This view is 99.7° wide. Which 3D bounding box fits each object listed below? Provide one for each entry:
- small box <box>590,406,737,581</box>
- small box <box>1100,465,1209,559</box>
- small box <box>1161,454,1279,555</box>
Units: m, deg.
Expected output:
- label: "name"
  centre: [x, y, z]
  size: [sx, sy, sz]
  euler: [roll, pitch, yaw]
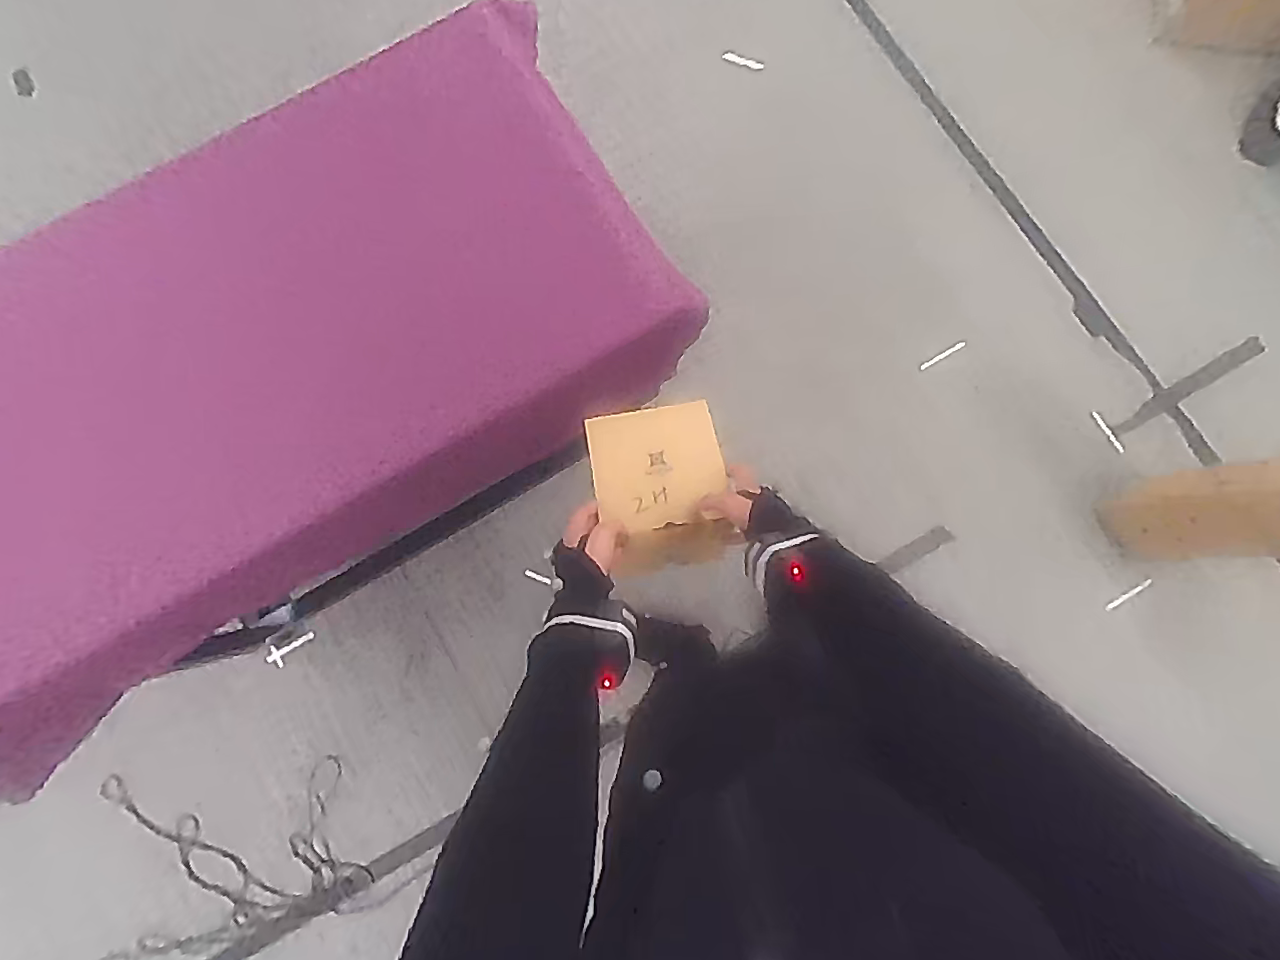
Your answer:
- label: "small box"
  centre: [0.027, 0.025, 0.753]
  size: [0.168, 0.176, 0.179]
  euler: [-10, 65, -1]
- label: "small box"
  centre: [1.349, 0.084, 1.376]
  size: [0.168, 0.176, 0.179]
  euler: [-33, 83, -3]
- label: "small box"
  centre: [1.355, 0.054, 1.215]
  size: [0.179, 0.176, 0.168]
  euler: [-29, 84, -2]
